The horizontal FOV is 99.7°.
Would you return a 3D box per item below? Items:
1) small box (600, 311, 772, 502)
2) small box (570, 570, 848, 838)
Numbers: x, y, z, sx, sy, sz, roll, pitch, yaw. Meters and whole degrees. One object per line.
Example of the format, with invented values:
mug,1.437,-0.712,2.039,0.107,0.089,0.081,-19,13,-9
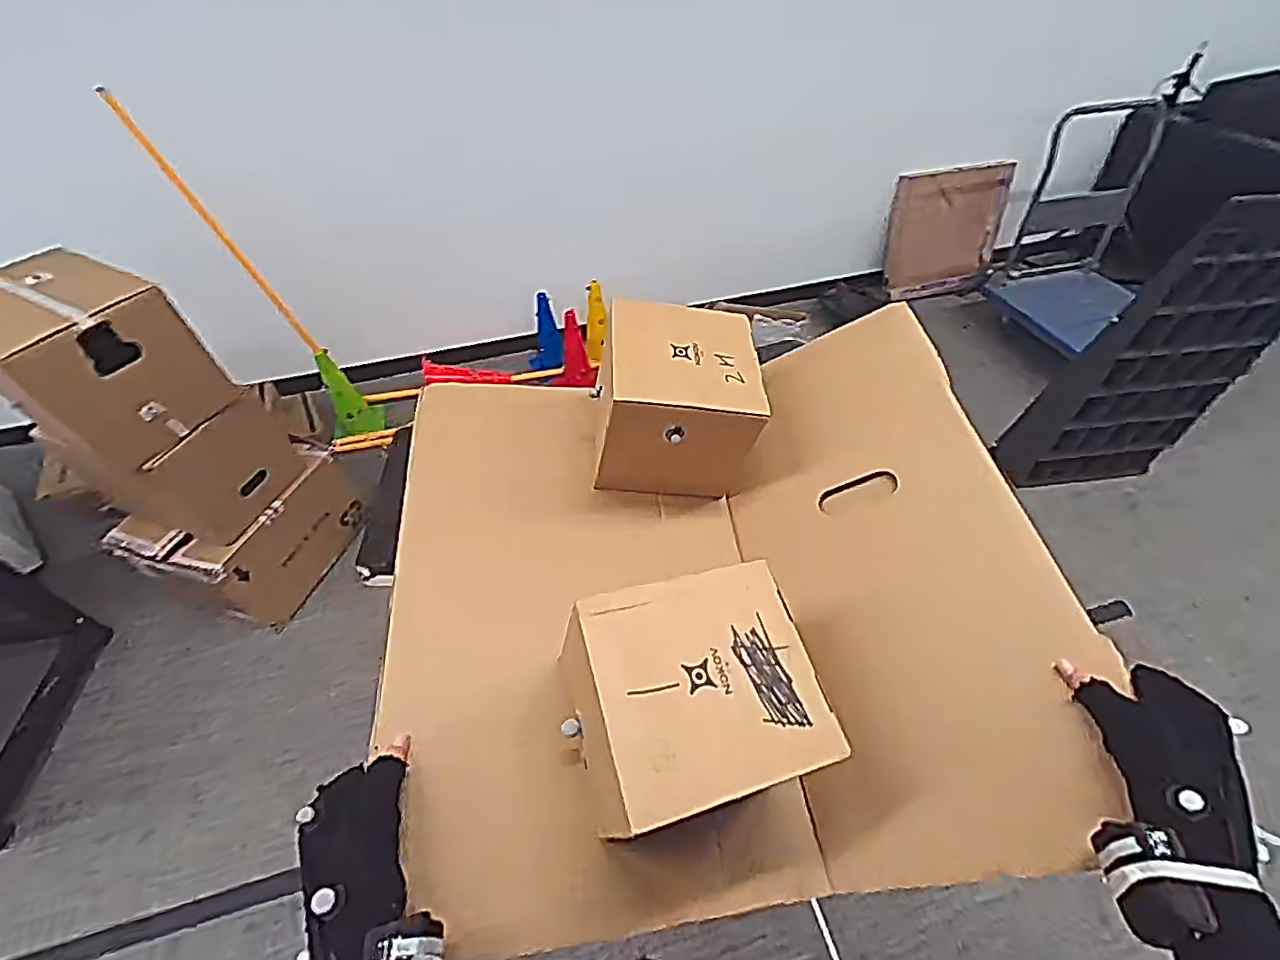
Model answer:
small box,0.045,-0.085,0.686,0.179,0.176,0.168,6,55,-10
small box,0.042,0.201,0.487,0.179,0.176,0.168,-8,59,-17
